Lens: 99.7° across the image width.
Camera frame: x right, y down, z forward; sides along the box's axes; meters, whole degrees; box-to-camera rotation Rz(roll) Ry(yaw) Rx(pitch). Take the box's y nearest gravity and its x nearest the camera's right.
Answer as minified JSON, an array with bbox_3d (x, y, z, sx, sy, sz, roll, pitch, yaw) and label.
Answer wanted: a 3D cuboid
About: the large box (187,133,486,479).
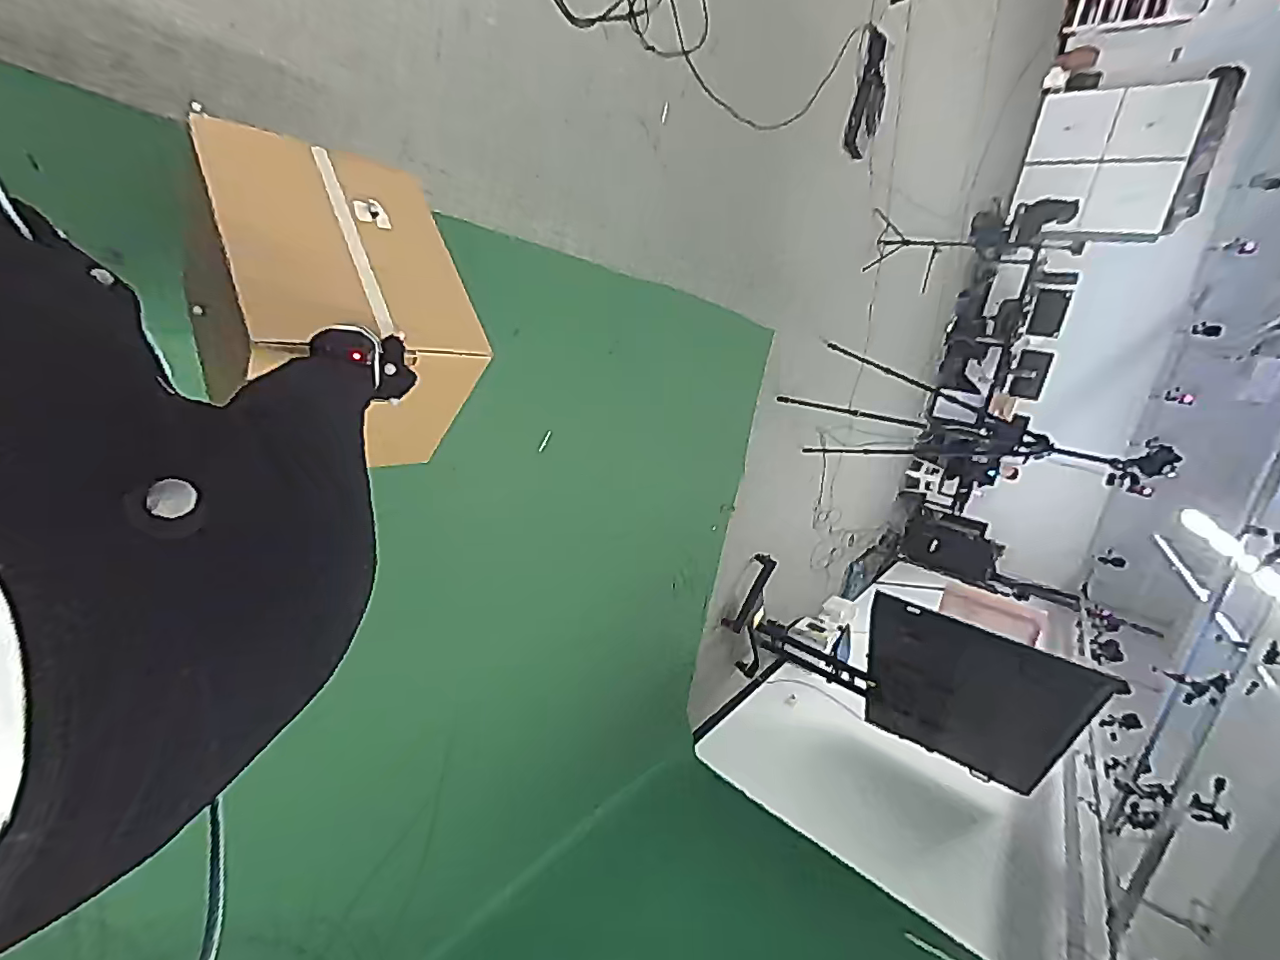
[{"bbox_3d":[-0.517,-0.261,0.897,0.320,0.408,0.320,-9,154,-46],"label":"large box"}]
